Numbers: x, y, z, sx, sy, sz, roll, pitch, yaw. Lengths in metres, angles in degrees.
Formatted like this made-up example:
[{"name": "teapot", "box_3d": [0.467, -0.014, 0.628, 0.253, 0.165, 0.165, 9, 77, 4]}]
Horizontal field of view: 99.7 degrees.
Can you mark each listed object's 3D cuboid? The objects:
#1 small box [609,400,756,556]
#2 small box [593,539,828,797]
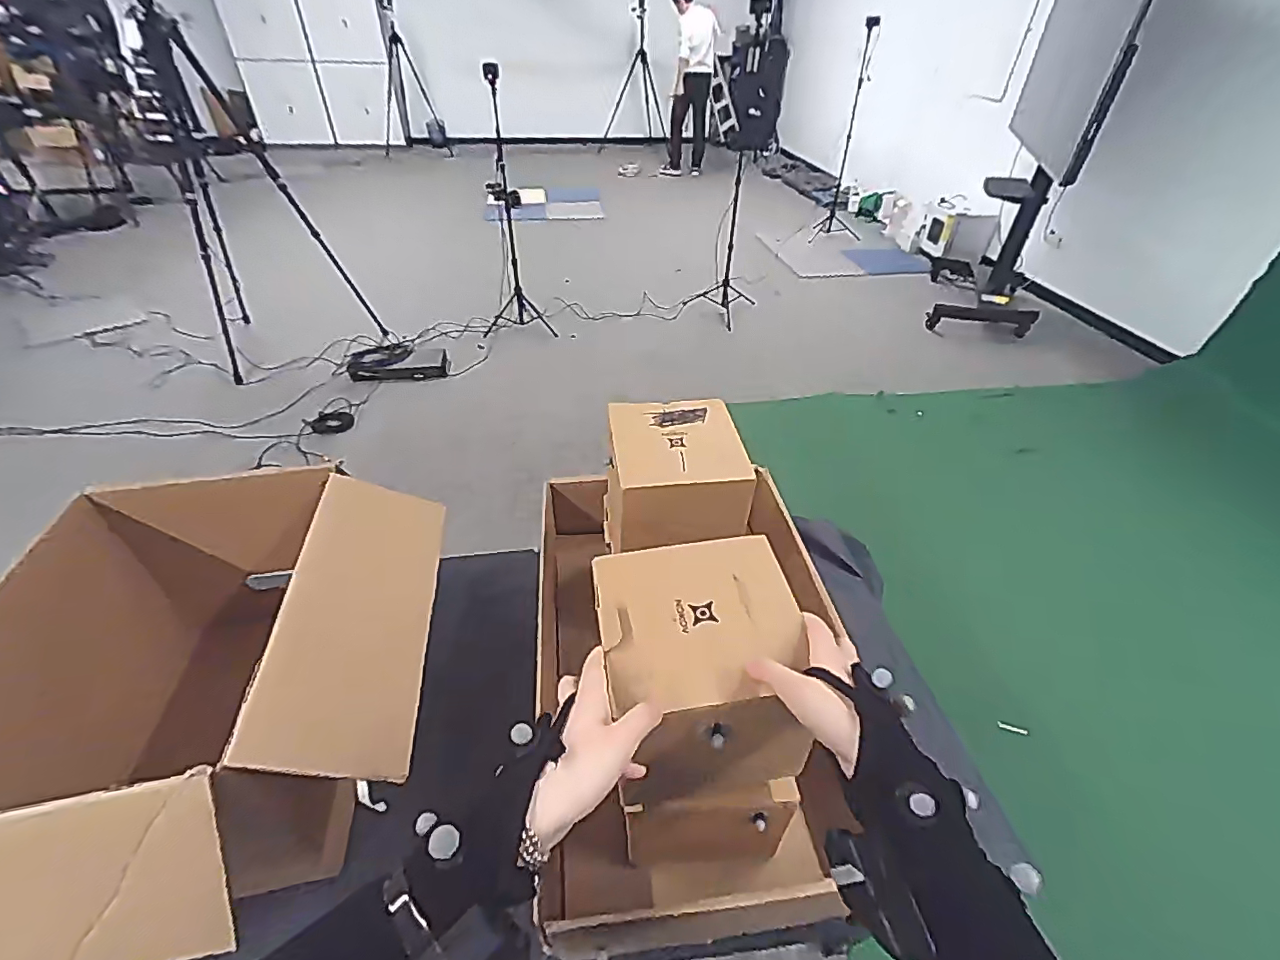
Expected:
[{"name": "small box", "box_3d": [0.045, 0.008, 0.749, 0.168, 0.176, 0.179, -4, 43, -7]}, {"name": "small box", "box_3d": [0.054, 0.182, 0.524, 0.179, 0.176, 0.168, -6, 41, -7]}]
